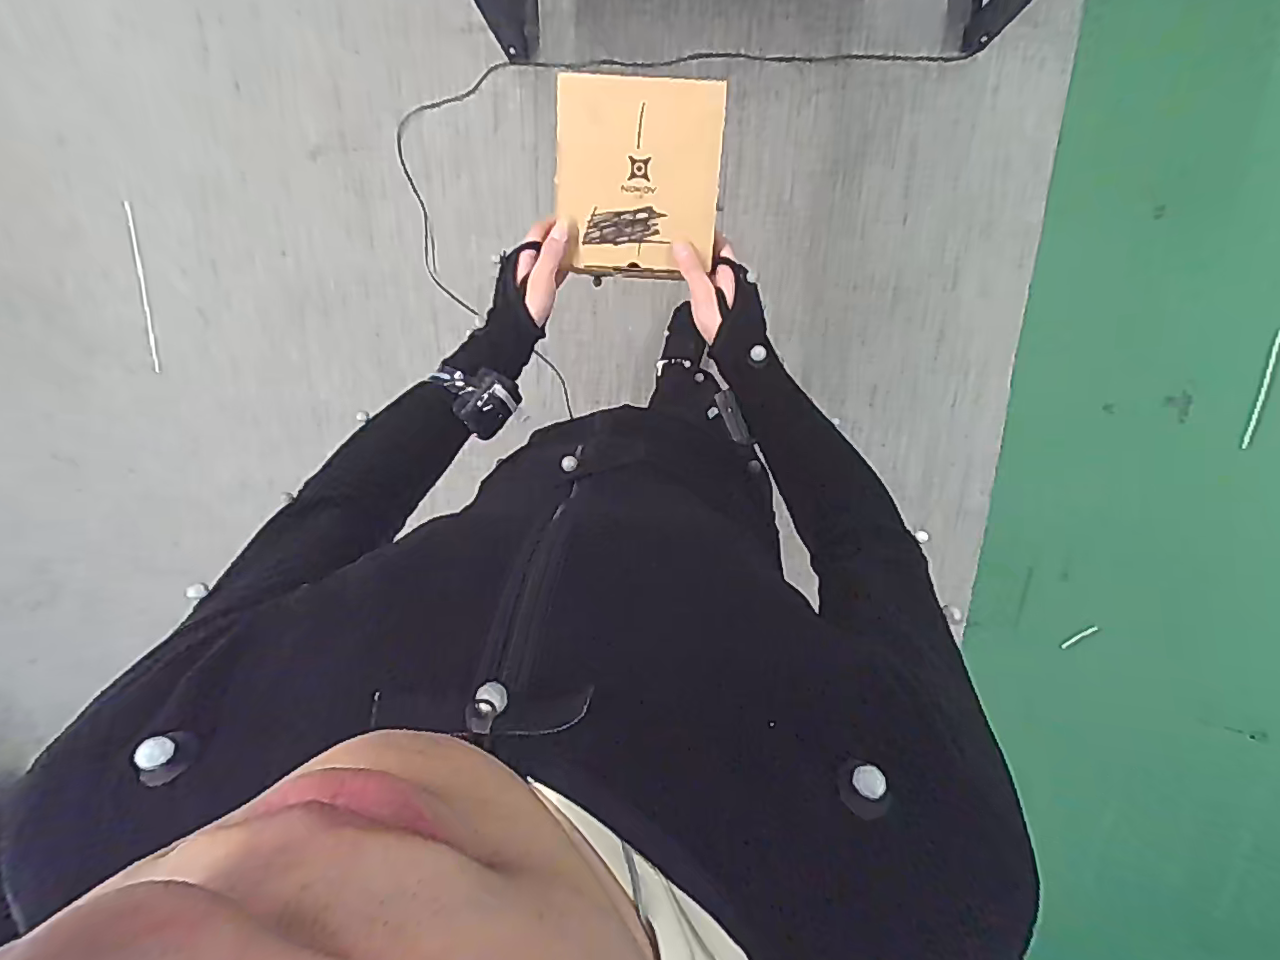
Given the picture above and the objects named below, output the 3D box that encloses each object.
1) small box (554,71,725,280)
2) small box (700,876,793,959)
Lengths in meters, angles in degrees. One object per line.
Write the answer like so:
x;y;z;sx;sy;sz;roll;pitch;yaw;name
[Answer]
-0.002;-0.328;0.617;0.168;0.176;0.179;3;107;0;small box
0.218;0.986;1.151;0.179;0.176;0.168;2;102;4;small box
